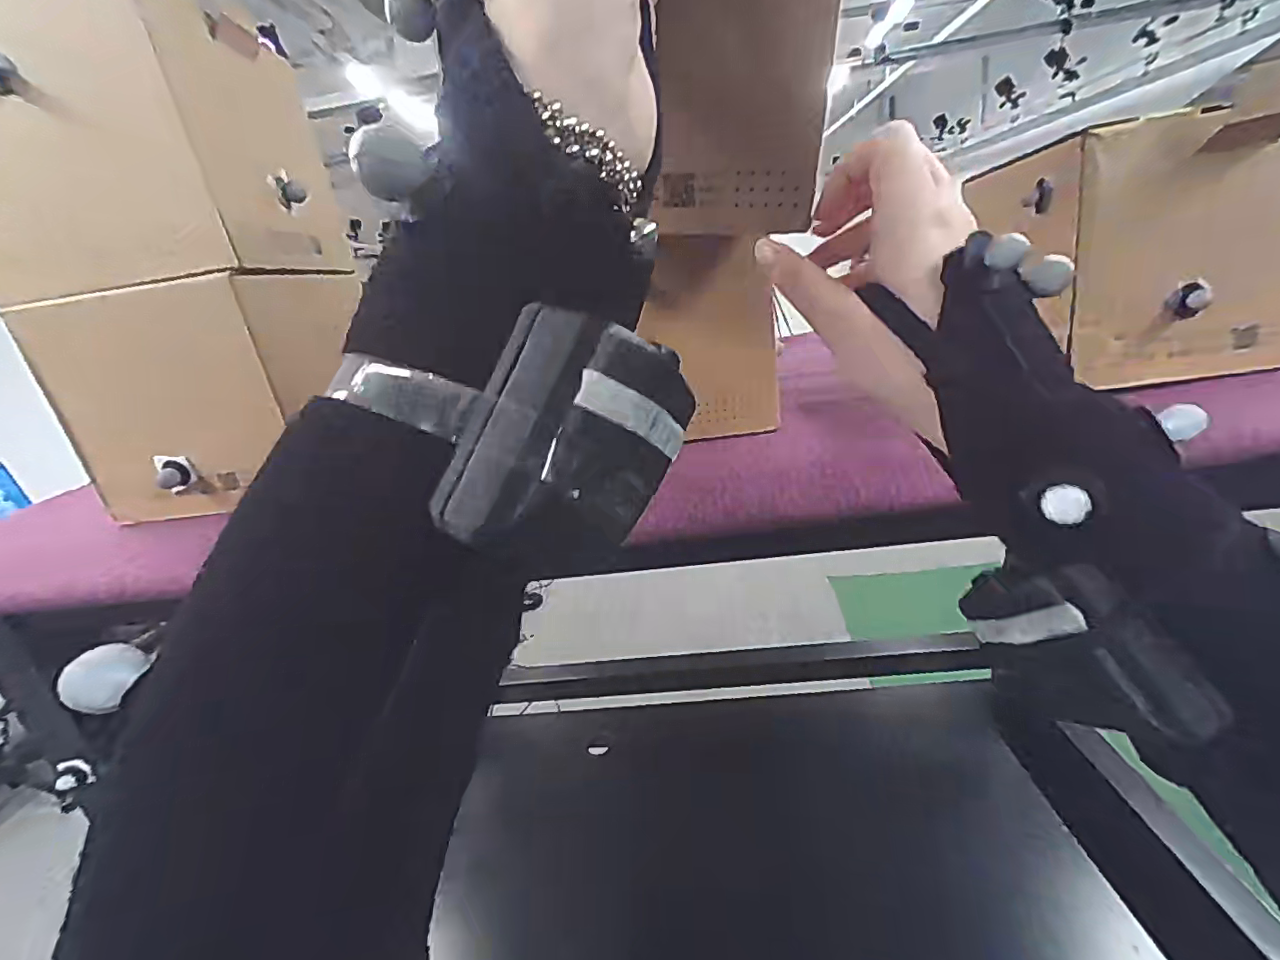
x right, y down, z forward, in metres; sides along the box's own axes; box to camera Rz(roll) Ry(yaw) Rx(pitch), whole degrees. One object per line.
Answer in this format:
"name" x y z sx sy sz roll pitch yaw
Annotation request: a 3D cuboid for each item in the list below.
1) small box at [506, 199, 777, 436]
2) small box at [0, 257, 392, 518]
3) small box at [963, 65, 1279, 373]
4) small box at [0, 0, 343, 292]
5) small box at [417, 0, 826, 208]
"small box" 0.011 -0.140 0.455 0.179 0.176 0.168 -6 20 6
"small box" -0.336 -0.084 0.456 0.168 0.176 0.179 -9 22 3
"small box" 0.366 -0.181 0.410 0.168 0.176 0.179 -7 19 9
"small box" -0.366 -0.236 0.401 0.179 0.176 0.168 -9 21 2
"small box" 0.003 -0.245 0.258 0.168 0.176 0.179 5 47 11
